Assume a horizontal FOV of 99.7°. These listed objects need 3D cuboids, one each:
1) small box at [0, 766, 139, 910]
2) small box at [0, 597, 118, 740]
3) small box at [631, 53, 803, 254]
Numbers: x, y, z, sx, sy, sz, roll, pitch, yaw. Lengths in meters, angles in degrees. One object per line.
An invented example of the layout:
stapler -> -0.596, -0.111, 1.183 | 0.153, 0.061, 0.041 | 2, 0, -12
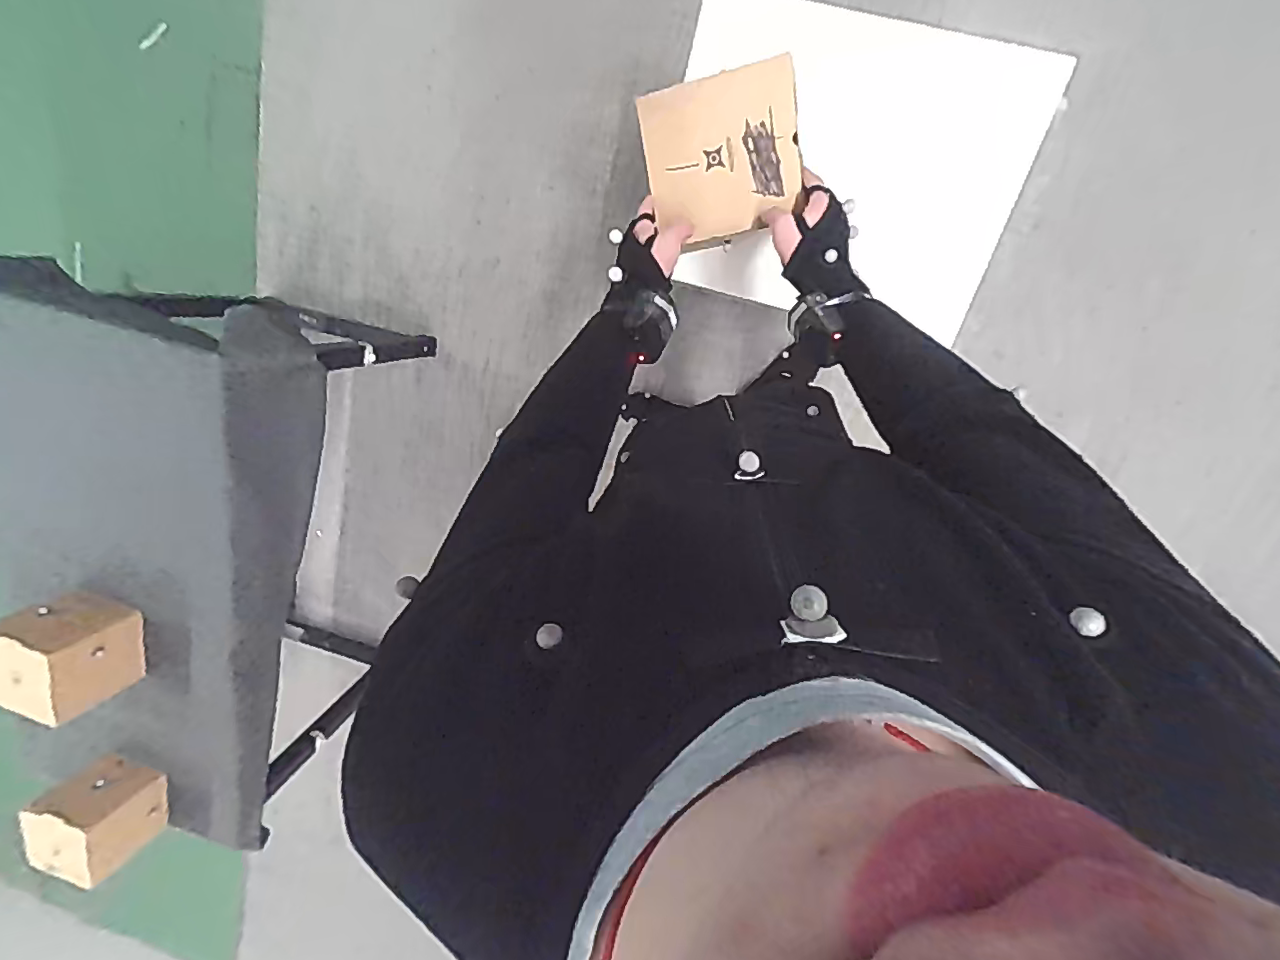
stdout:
small box -> -1.242, 0.765, 1.174 | 0.168, 0.176, 0.179 | 16, 107, 5
small box -> -1.168, 0.353, 1.043 | 0.168, 0.176, 0.179 | 17, 110, 5
small box -> 0.099, -0.388, 0.678 | 0.179, 0.176, 0.168 | -7, 108, 13
